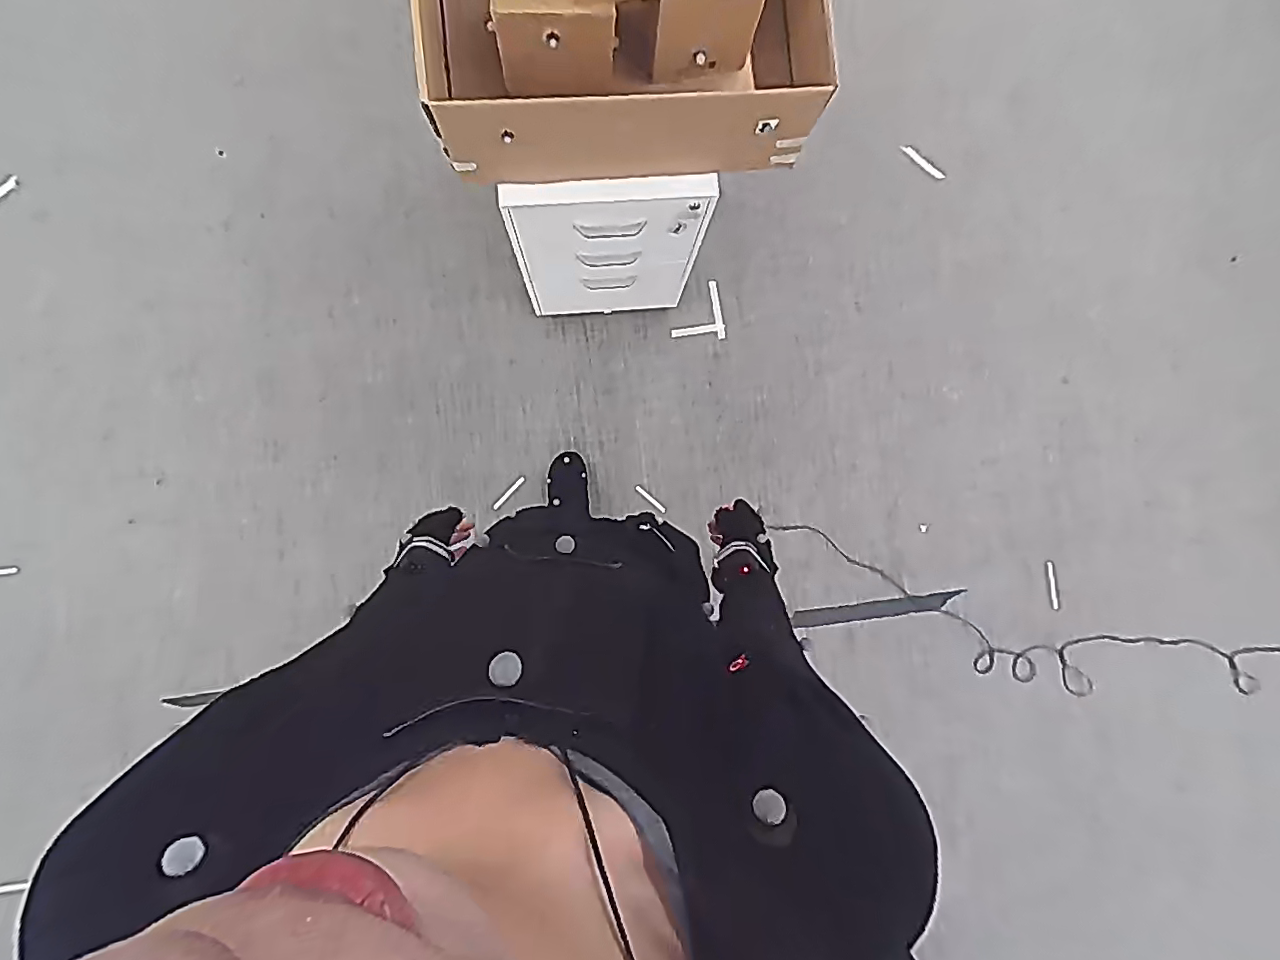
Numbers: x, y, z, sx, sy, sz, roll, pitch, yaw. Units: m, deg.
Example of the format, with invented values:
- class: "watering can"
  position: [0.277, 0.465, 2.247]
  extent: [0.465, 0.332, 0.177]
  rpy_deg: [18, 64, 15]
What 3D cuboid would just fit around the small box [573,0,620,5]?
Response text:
- class: "small box"
  position: [-0.018, -0.760, 0.687]
  extent: [0.179, 0.176, 0.168]
  rpy_deg: [-11, 89, -5]
